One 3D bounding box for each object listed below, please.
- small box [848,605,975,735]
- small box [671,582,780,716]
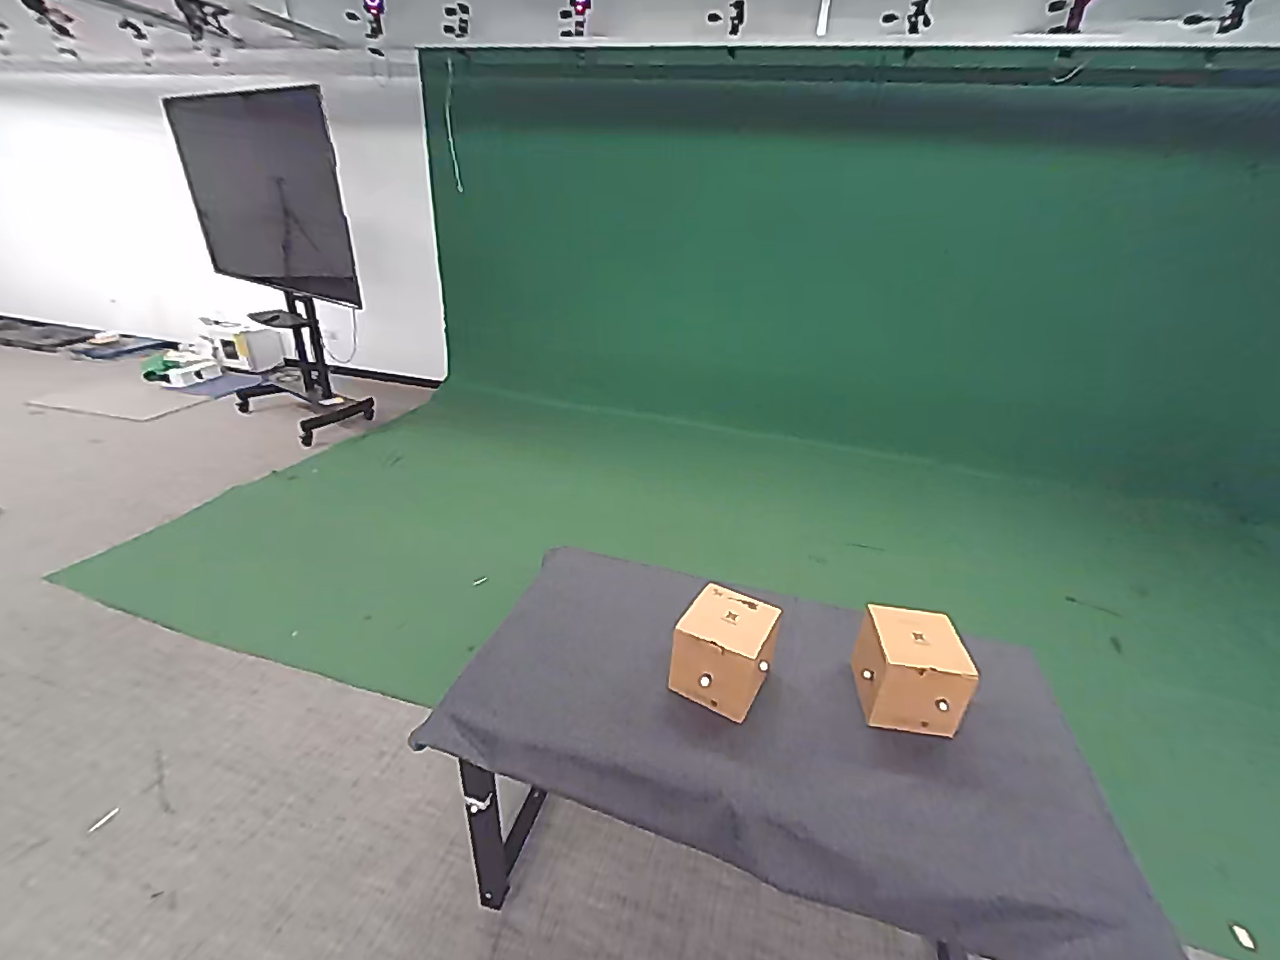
[{"bbox_3d":[0.543,0.388,1.108,0.168,0.176,0.179,8,26,5],"label":"small box"},{"bbox_3d":[0.174,0.349,1.125,0.168,0.176,0.179,19,30,25],"label":"small box"}]
